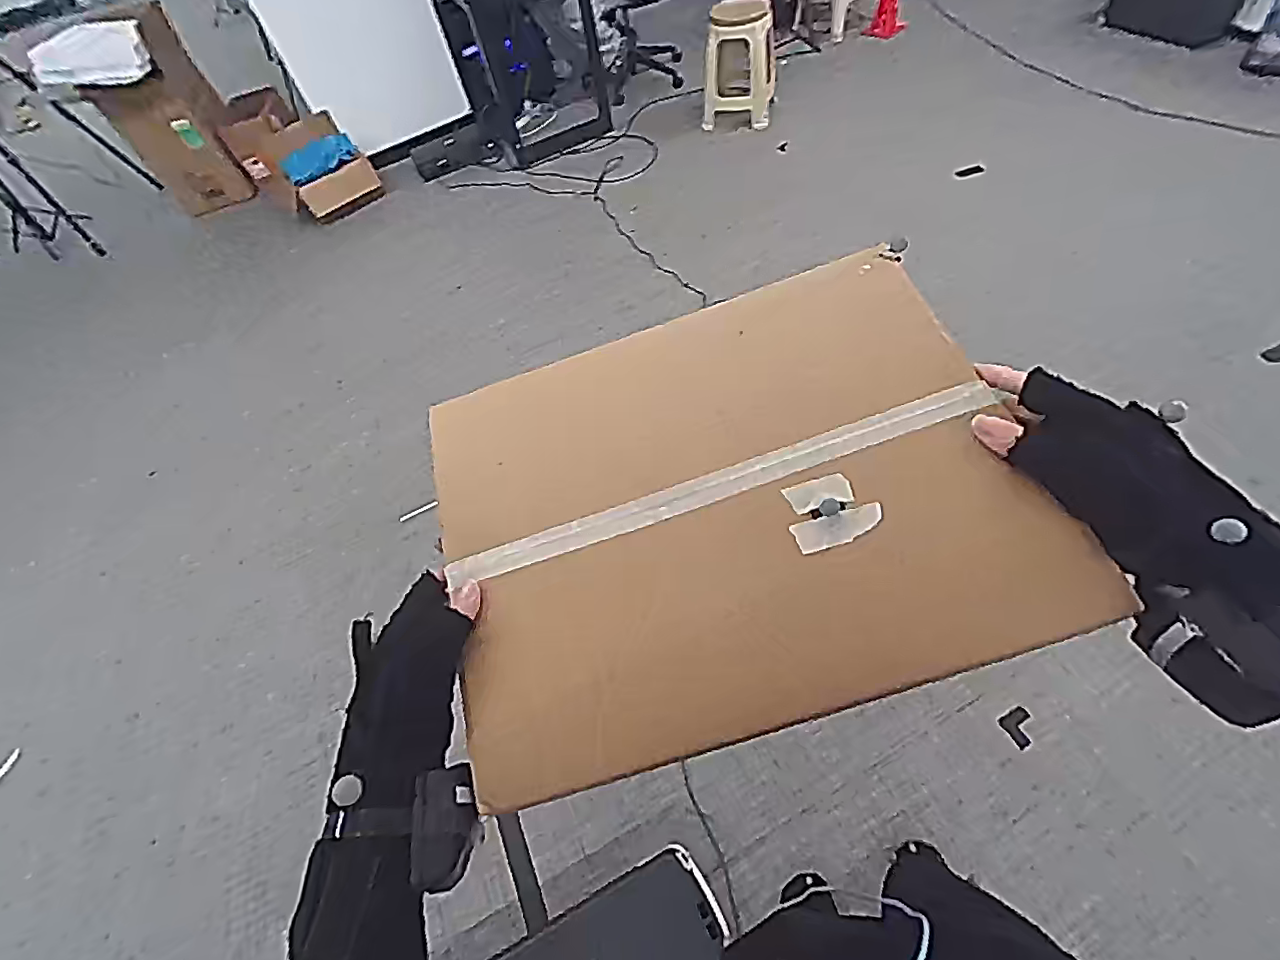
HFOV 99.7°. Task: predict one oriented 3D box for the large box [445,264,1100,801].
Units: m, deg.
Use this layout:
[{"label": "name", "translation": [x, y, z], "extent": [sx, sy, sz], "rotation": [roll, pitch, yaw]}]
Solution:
[{"label": "large box", "translation": [0.081, 0.071, 0.534], "extent": [0.408, 0.320, 0.320], "rotation": [-20, 64, 2]}]
